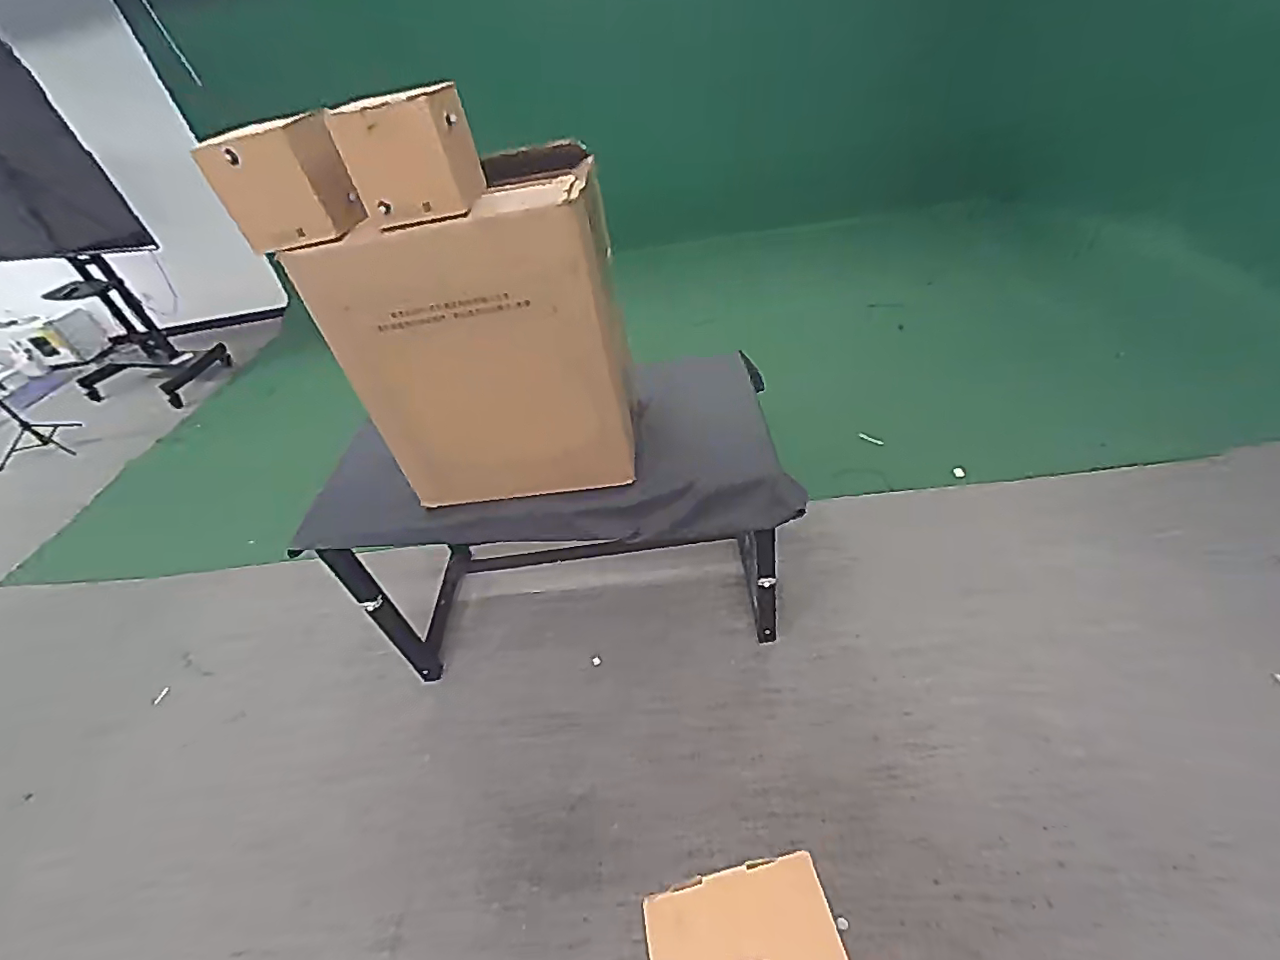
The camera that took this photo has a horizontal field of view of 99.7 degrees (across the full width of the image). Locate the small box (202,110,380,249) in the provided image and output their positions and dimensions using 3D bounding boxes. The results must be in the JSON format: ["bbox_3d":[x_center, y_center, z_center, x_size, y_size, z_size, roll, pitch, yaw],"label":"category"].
[{"bbox_3d":[-0.592,-0.526,0.951,0.168,0.176,0.179,-7,40,10],"label":"small box"}]

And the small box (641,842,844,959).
[{"bbox_3d":[0.109,0.478,0.495,0.168,0.176,0.179,-17,37,1],"label":"small box"}]

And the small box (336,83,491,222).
[{"bbox_3d":[-0.371,-0.556,0.928,0.168,0.176,0.179,-6,40,6],"label":"small box"}]
